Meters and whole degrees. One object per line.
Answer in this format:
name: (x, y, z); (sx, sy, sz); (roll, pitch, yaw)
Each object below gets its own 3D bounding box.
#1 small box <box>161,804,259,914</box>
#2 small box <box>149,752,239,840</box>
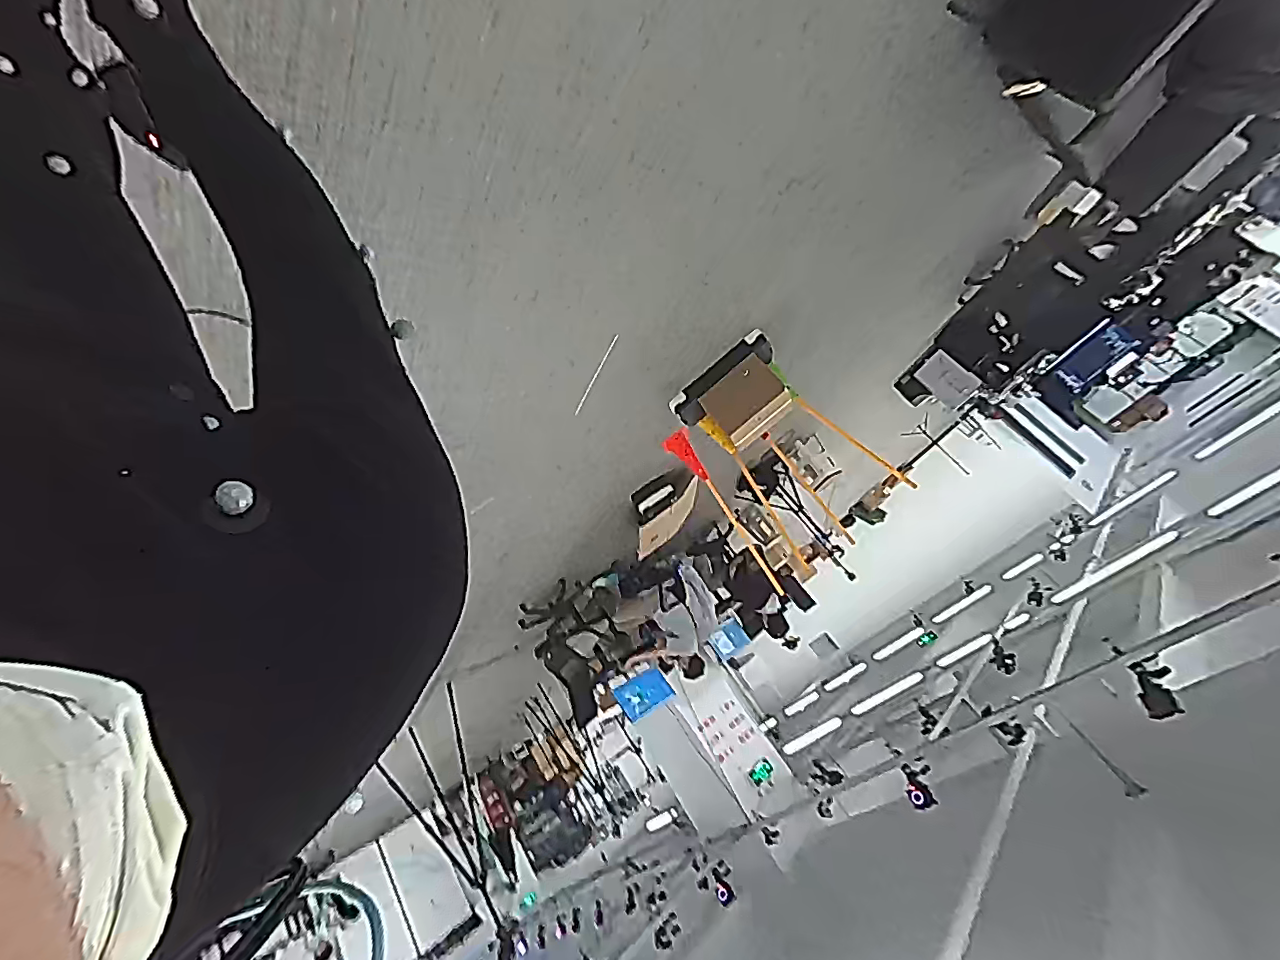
small box: (-1.169, 1.026, 1.476); (0.179, 0.176, 0.168); (-15, 149, -43)
small box: (-1.263, 0.907, 1.536); (0.168, 0.176, 0.179); (-15, 151, -44)
